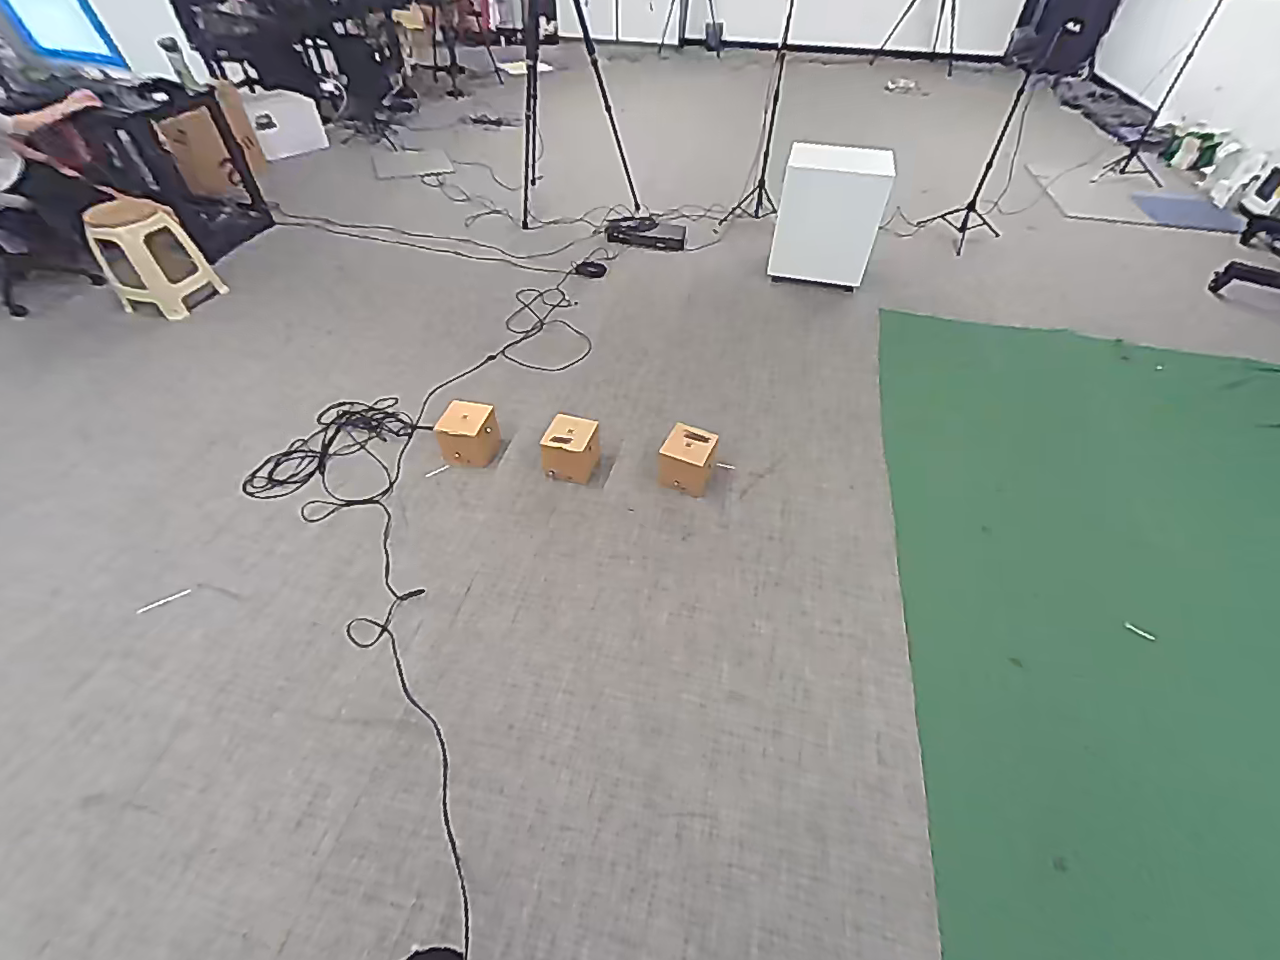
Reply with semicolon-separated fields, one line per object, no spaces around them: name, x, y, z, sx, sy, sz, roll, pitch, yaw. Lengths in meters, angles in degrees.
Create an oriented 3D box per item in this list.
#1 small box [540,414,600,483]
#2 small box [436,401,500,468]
small box;-0.254;-0.114;2.015;0.168;0.176;0.179;13;48;11
small box;-0.649;-0.174;2.068;0.168;0.176;0.179;9;48;8
